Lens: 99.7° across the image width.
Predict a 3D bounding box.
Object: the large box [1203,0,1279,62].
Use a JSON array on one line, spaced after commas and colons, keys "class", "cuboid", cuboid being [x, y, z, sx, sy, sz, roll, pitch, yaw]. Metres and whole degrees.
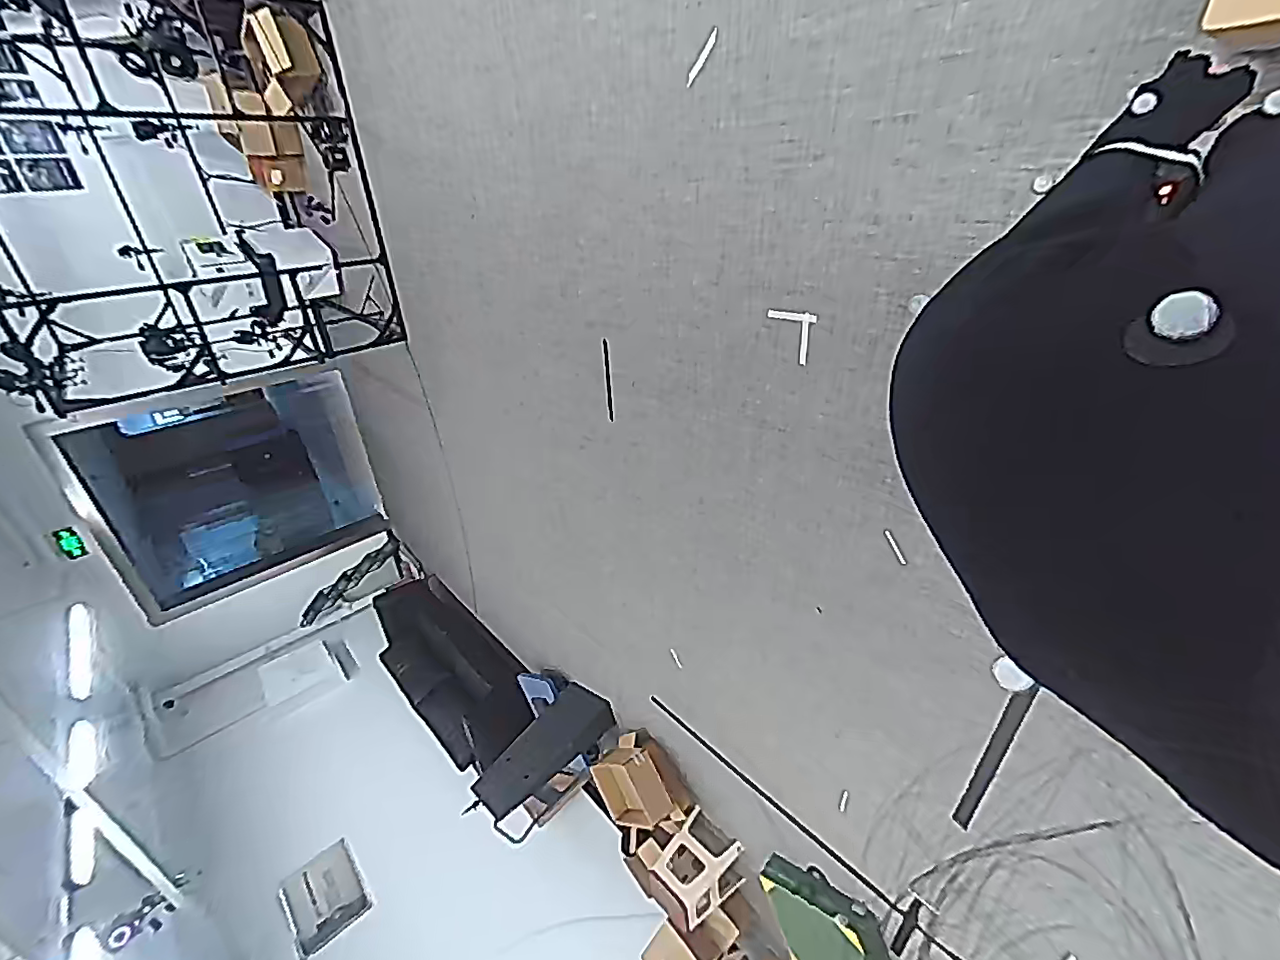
[{"class": "large box", "cuboid": [1.001, -0.730, 0.626, 0.408, 0.320, 0.320, 25, 129, 42]}]
